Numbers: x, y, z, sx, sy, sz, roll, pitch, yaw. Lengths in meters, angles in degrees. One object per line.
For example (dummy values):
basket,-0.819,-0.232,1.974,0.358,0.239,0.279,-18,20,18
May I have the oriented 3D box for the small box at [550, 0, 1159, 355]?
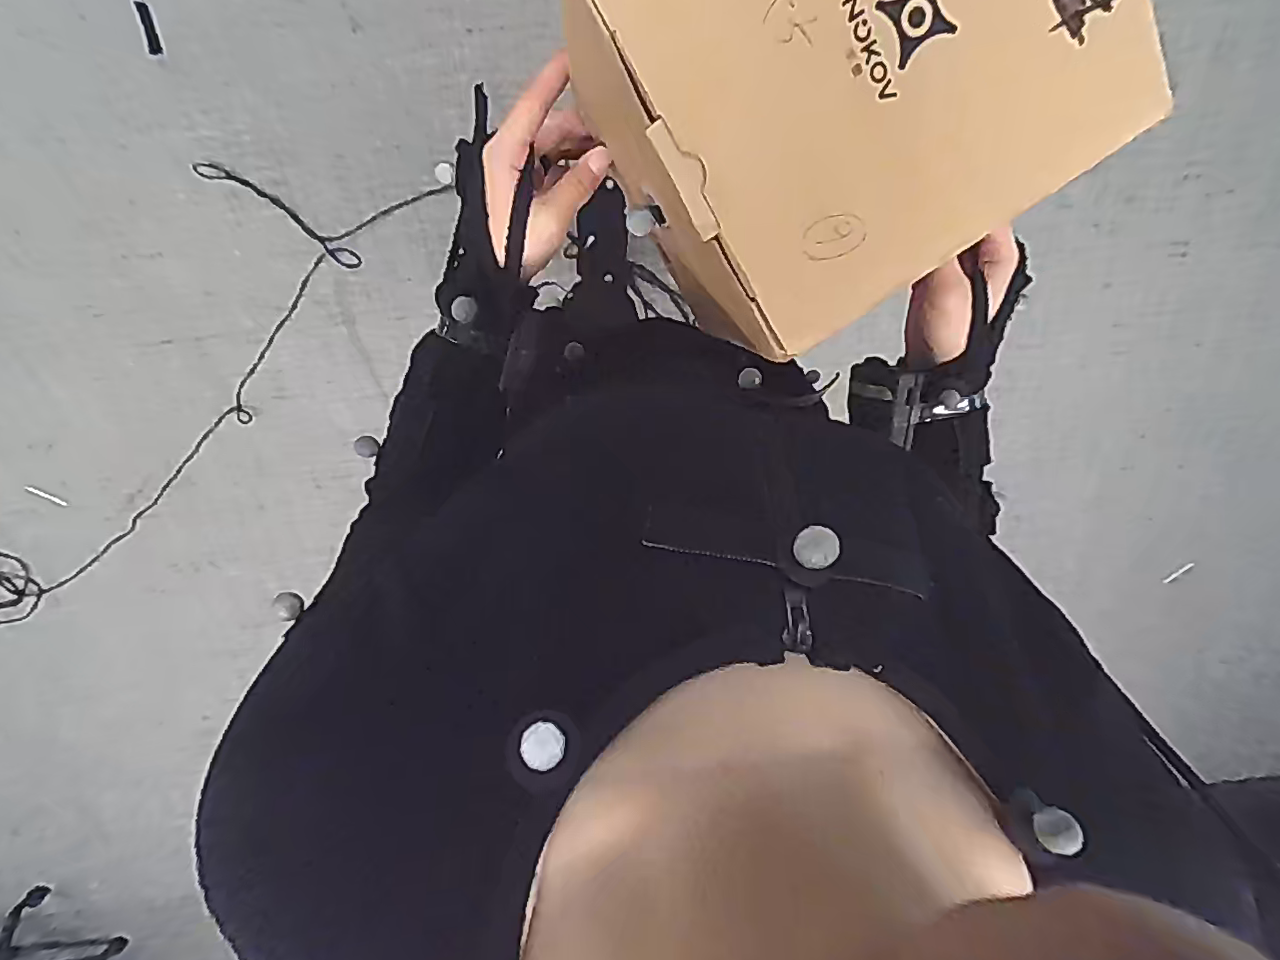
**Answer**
small box,0.078,-0.184,0.269,0.179,0.176,0.168,-32,108,8
